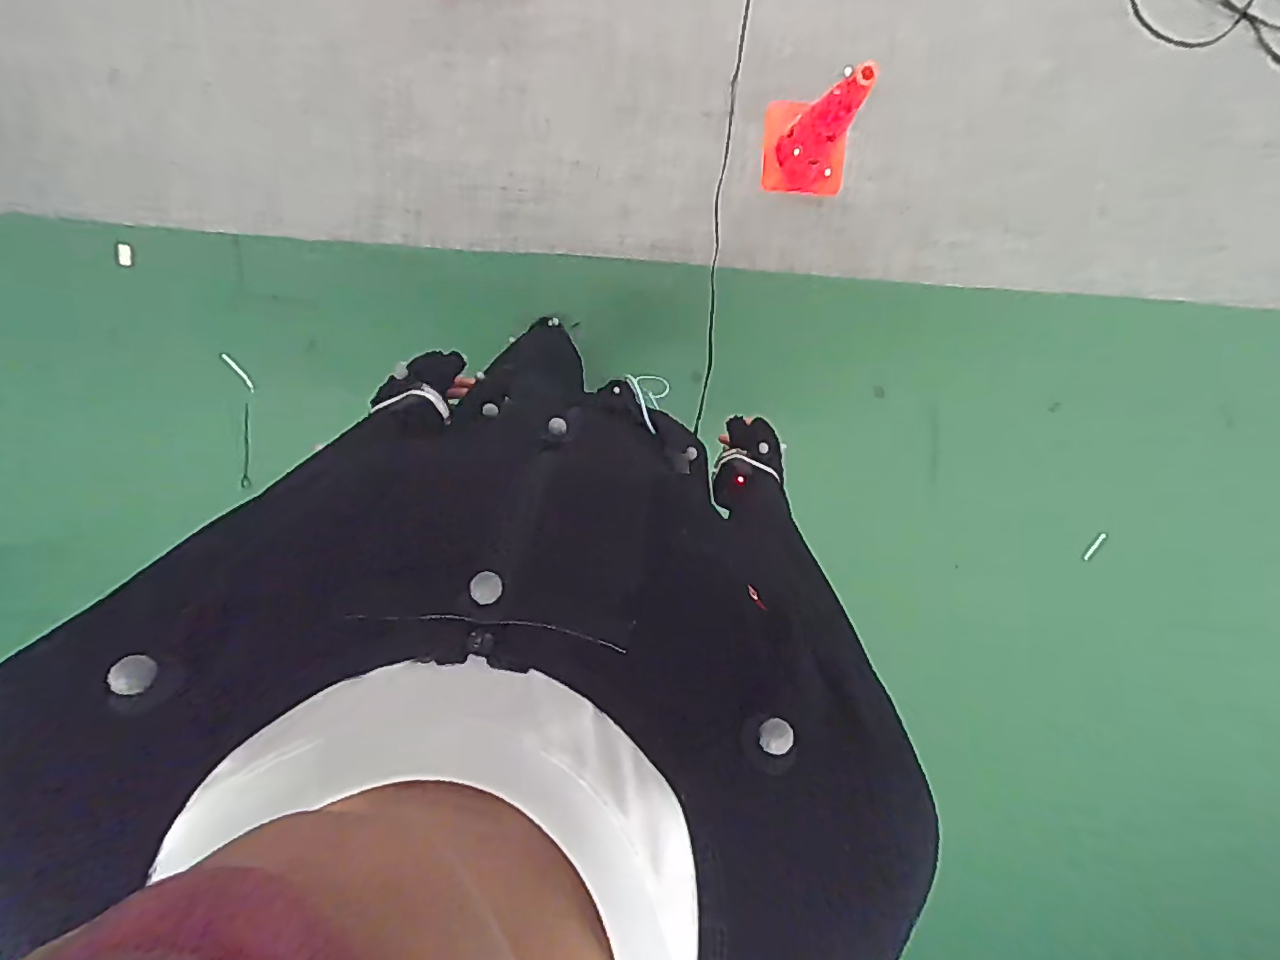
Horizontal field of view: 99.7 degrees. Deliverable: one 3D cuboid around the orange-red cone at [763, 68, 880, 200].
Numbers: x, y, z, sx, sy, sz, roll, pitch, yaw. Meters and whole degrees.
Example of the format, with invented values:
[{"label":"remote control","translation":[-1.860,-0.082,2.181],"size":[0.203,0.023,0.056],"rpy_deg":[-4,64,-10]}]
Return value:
[{"label":"orange-red cone","translation":[0.411,-0.769,1.156],"size":[0.198,0.360,0.199],"rpy_deg":[4,101,-3]}]
